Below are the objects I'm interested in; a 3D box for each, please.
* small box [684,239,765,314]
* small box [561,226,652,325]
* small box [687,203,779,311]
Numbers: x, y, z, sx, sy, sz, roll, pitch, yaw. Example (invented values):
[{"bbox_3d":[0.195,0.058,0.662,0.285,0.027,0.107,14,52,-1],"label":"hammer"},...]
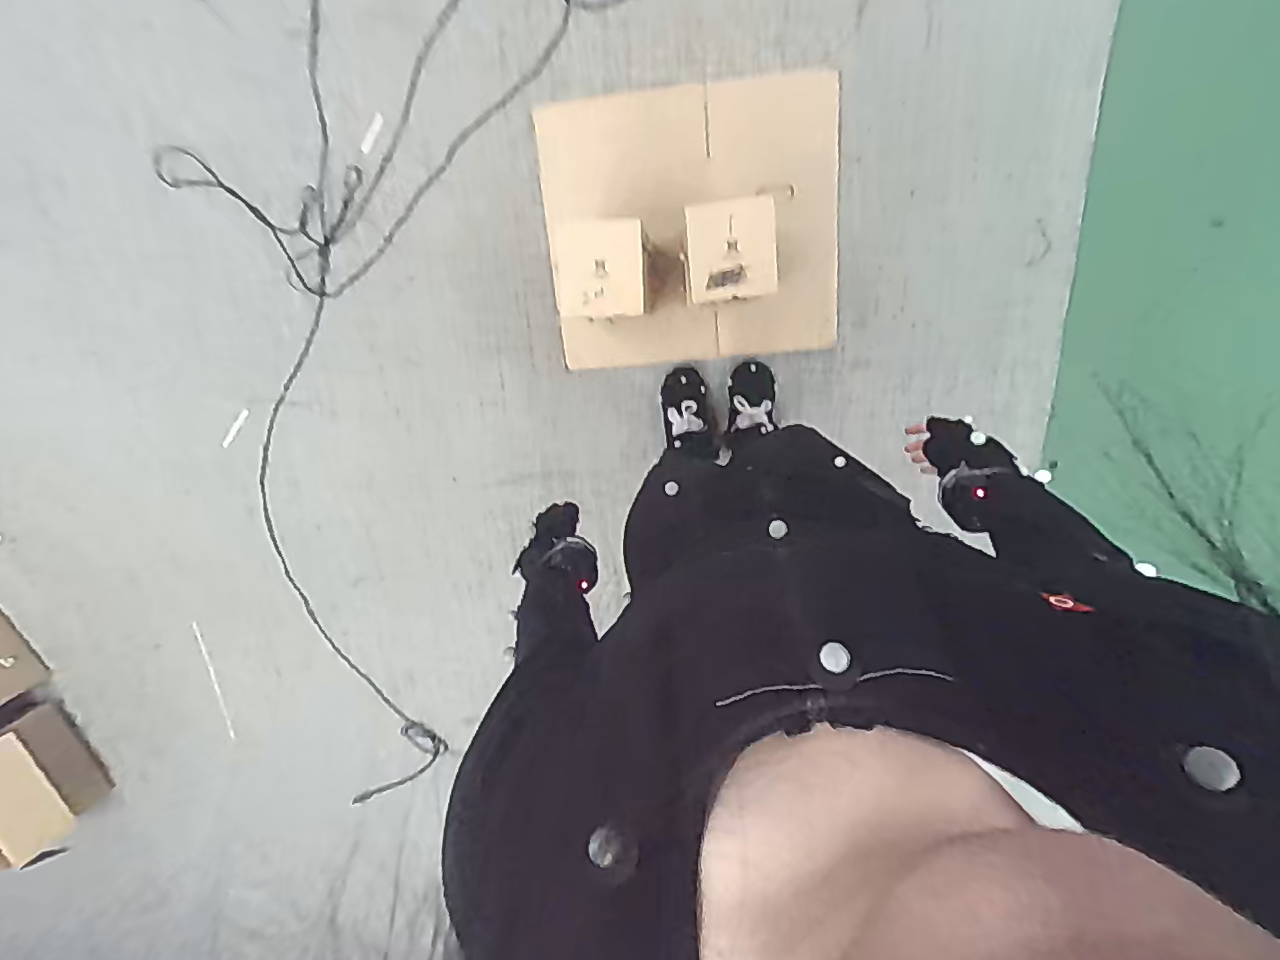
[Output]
[{"bbox_3d":[0.192,-0.485,1.254,0.168,0.176,0.179,-5,106,5],"label":"small box"},{"bbox_3d":[-0.063,-0.414,1.119,0.168,0.176,0.179,-1,106,5],"label":"small box"},{"bbox_3d":[0.183,-0.442,1.096,0.168,0.176,0.179,-5,106,5],"label":"small box"}]
